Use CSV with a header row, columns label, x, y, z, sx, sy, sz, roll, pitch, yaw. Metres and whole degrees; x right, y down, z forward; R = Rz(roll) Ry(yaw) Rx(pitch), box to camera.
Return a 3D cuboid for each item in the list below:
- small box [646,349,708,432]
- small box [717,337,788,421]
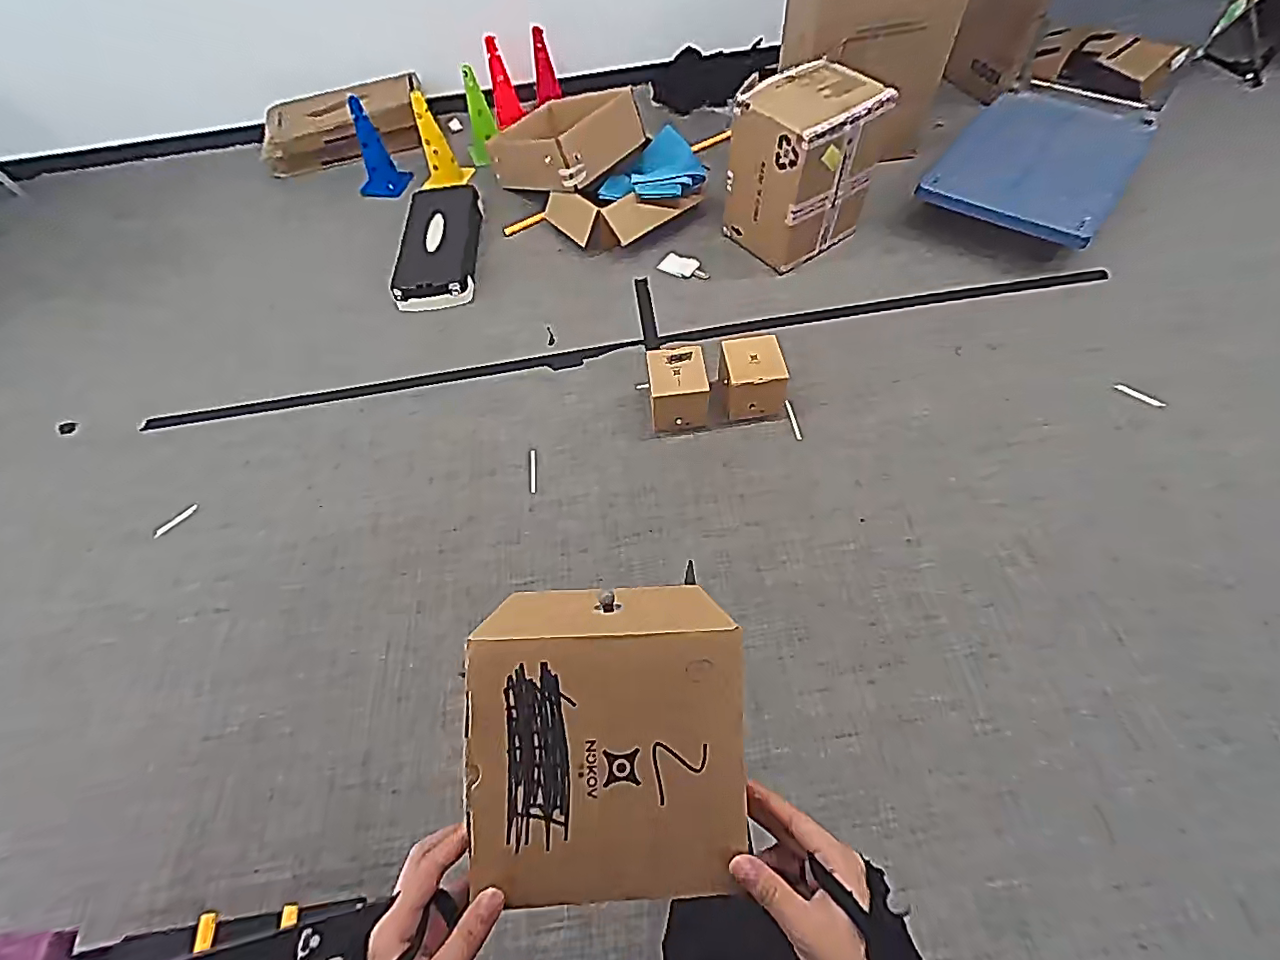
label,x,y,z,sx,sy,sz,roll,pitch,yaw
small box,0.109,-0.266,1.630,0.168,0.176,0.179,-6,59,1
small box,0.333,-0.303,1.638,0.168,0.176,0.179,-8,58,-1
